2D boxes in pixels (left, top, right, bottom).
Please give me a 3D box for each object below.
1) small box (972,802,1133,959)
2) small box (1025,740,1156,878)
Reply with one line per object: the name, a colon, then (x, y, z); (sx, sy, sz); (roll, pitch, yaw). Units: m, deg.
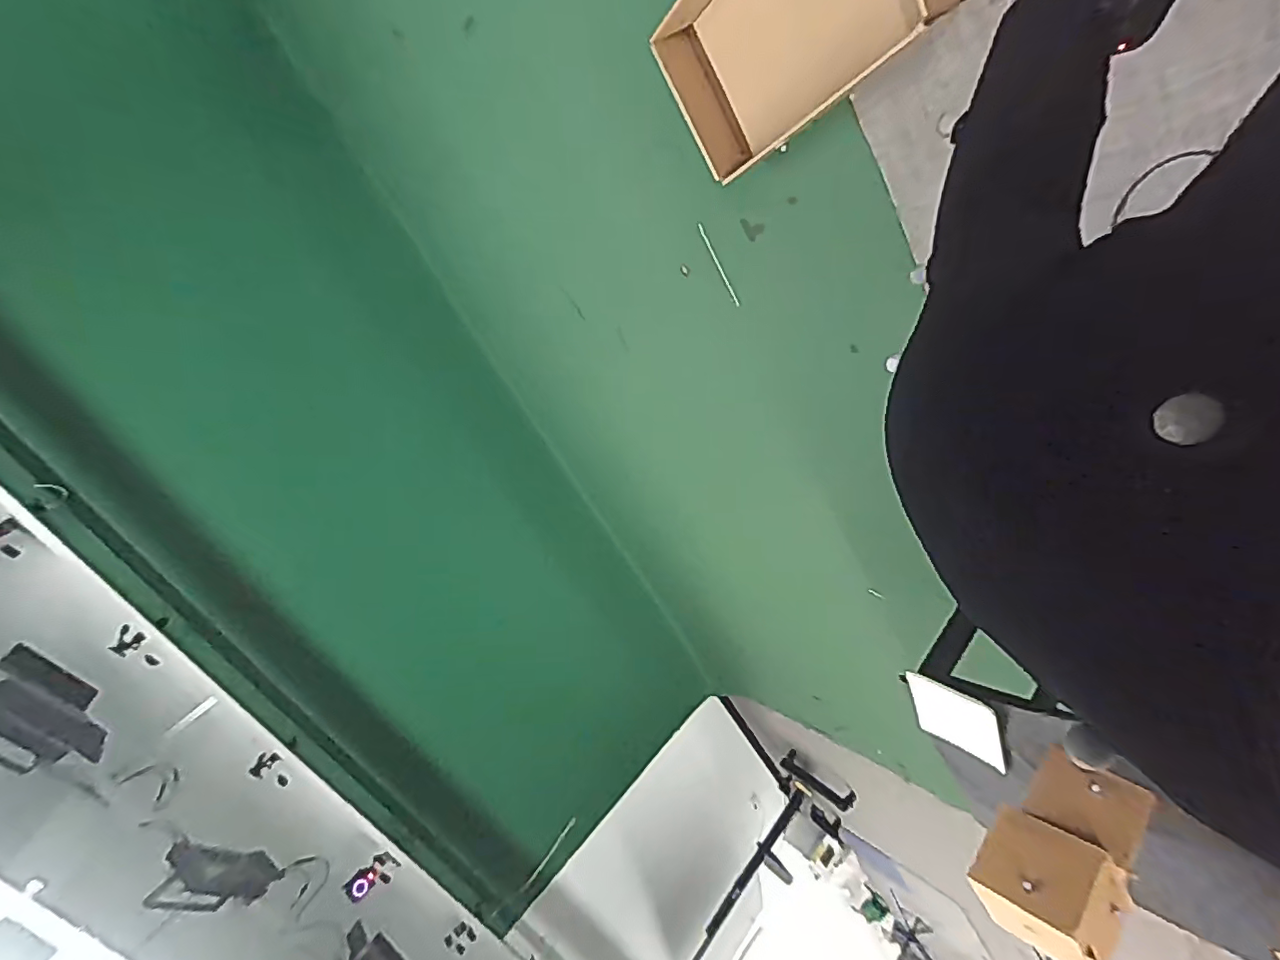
small box: (0.764, 0.743, 1.004); (0.168, 0.176, 0.179); (56, 153, -18)
small box: (0.890, 0.665, 1.077); (0.168, 0.176, 0.179); (18, 141, 47)
